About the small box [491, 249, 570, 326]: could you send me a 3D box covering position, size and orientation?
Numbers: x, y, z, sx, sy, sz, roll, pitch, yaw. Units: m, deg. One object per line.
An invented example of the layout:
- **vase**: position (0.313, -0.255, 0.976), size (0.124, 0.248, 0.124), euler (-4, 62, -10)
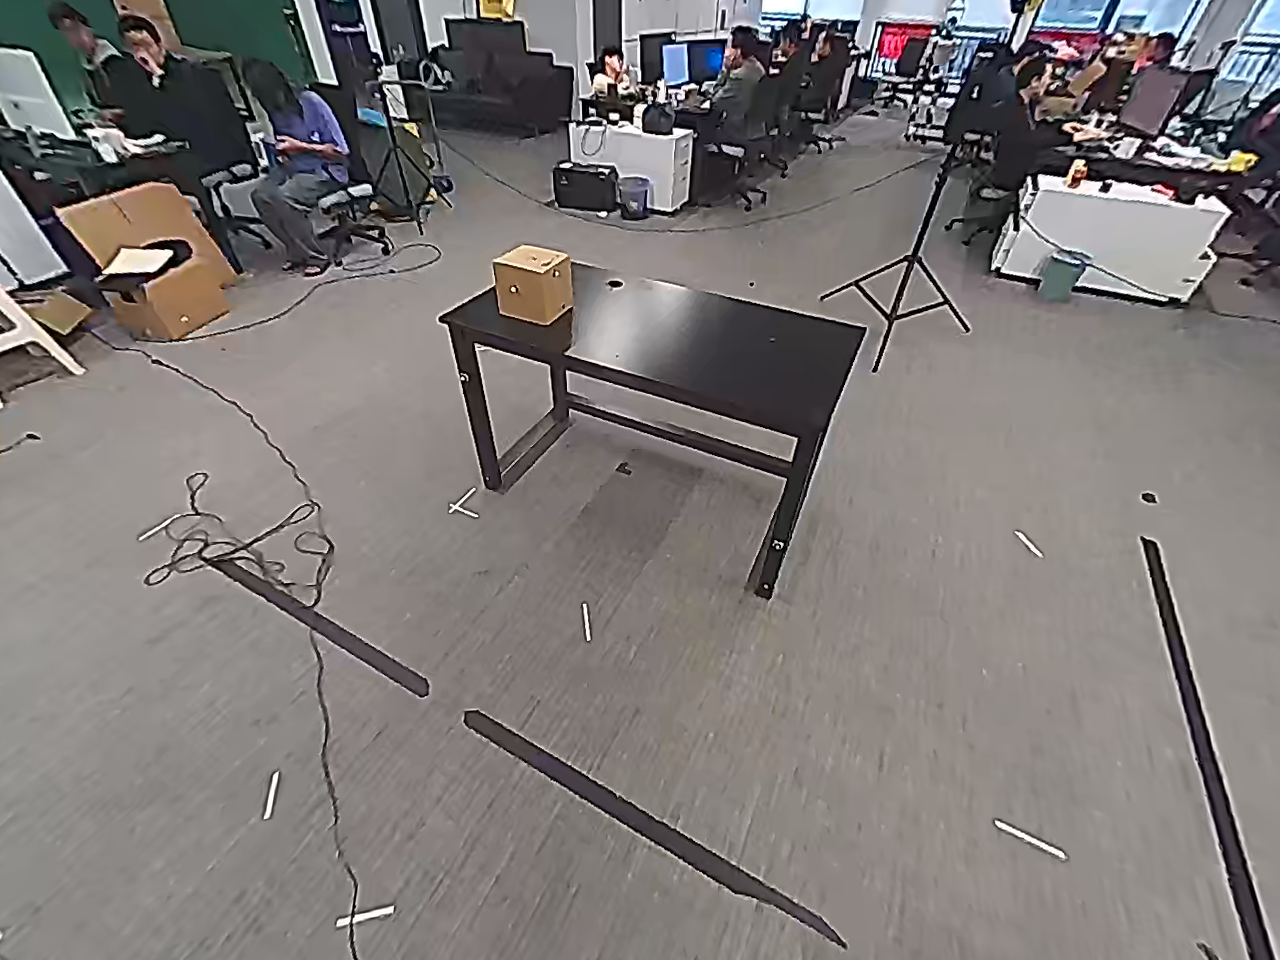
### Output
- **small box**: position (-0.334, -0.599, 1.686), size (0.179, 0.176, 0.168), euler (18, 45, 17)
